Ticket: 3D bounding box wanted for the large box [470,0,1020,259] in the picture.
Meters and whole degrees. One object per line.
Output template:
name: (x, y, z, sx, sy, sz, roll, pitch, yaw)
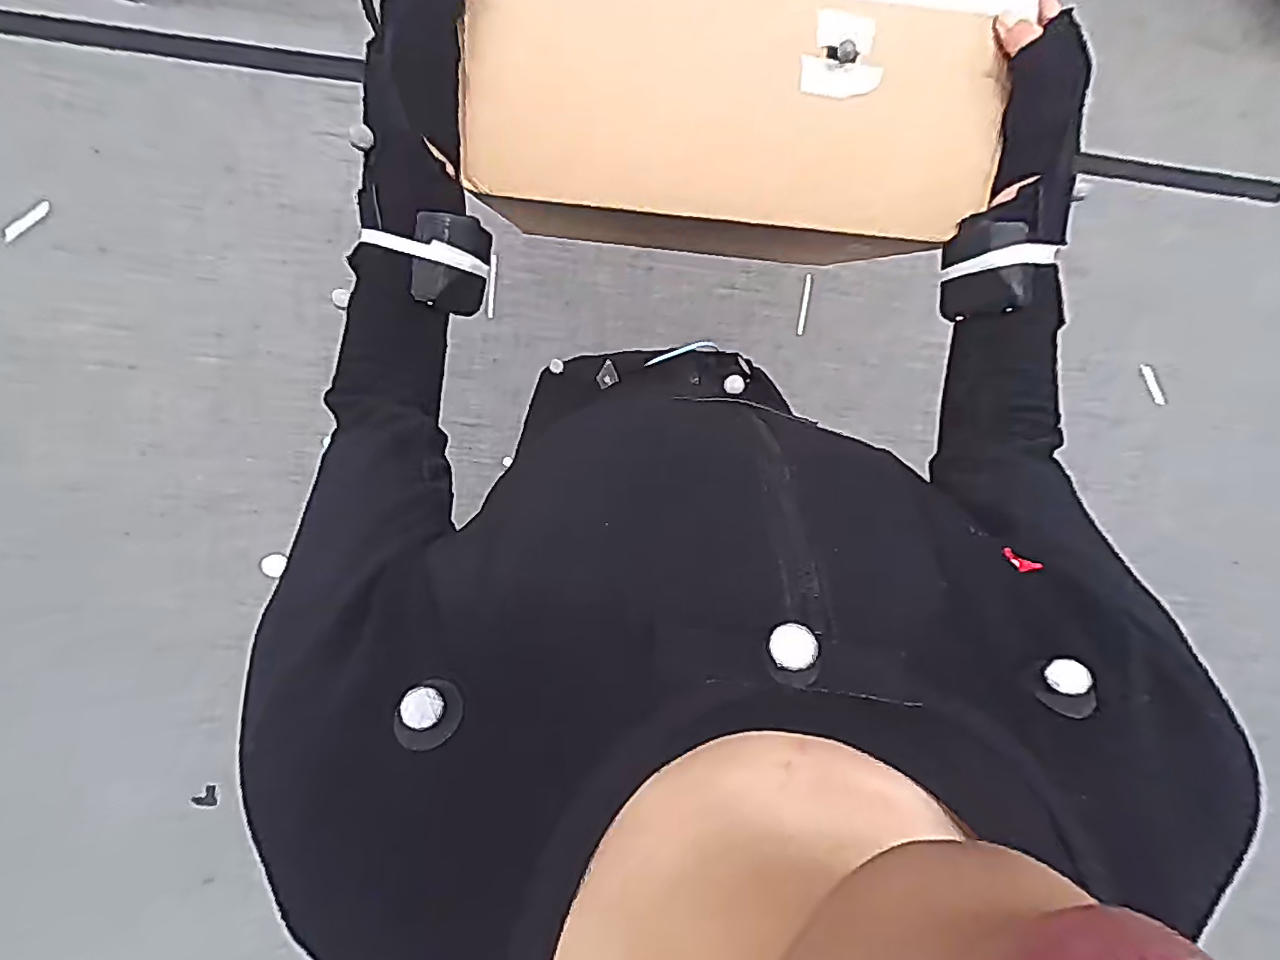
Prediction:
large box: (0.069, -0.402, 0.522, 0.408, 0.320, 0.320, 4, 110, -6)
